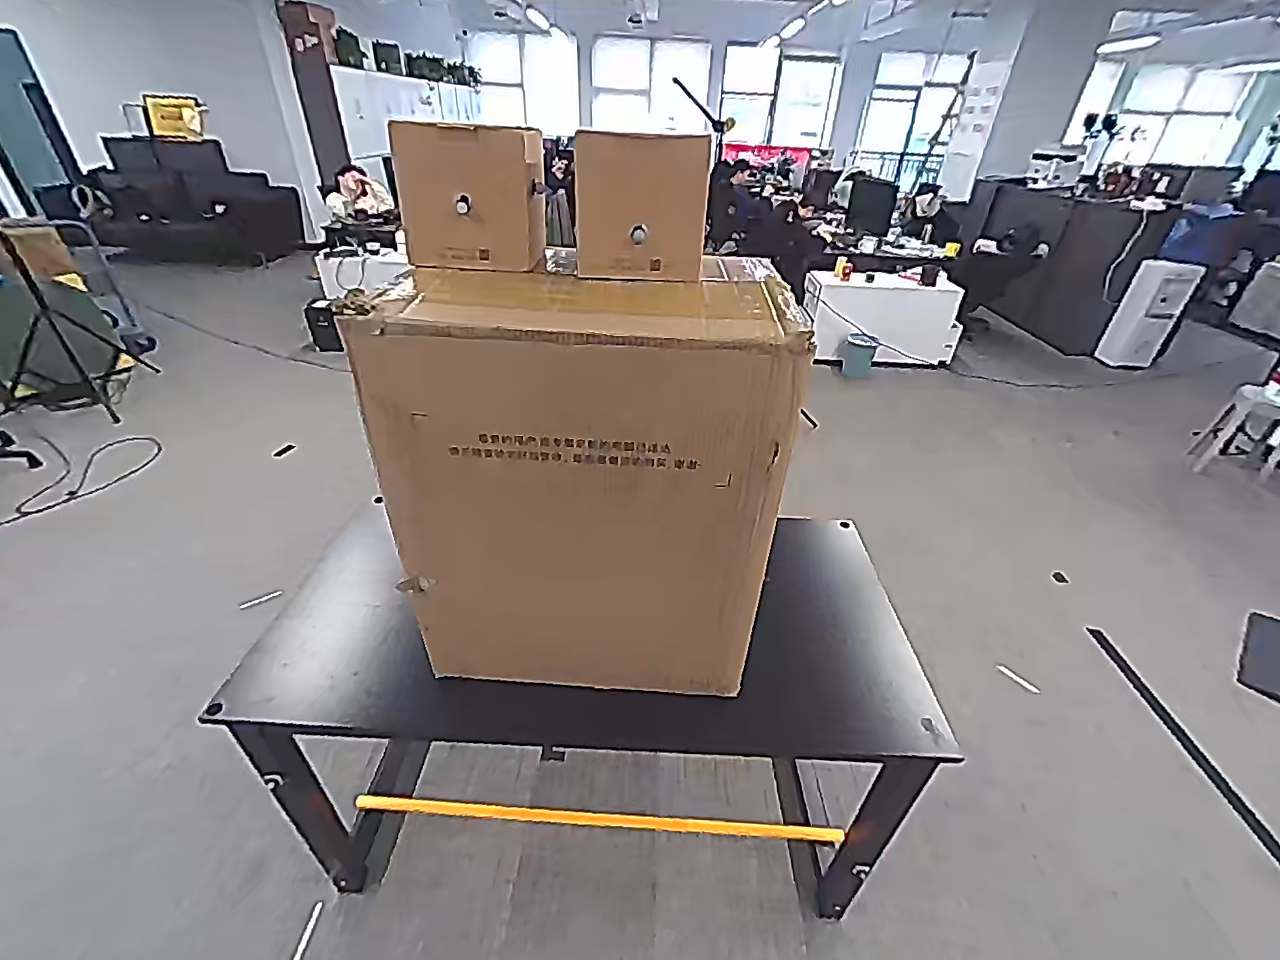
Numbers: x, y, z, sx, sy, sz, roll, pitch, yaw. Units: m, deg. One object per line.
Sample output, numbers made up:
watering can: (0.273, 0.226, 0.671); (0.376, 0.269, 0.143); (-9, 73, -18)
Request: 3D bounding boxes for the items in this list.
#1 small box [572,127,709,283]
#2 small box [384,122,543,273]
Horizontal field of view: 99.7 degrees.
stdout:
small box: (-0.002, -0.381, 0.748); (0.168, 0.176, 0.179); (1, 32, -1)
small box: (-0.229, -0.395, 0.756); (0.168, 0.176, 0.179); (1, 33, -3)
